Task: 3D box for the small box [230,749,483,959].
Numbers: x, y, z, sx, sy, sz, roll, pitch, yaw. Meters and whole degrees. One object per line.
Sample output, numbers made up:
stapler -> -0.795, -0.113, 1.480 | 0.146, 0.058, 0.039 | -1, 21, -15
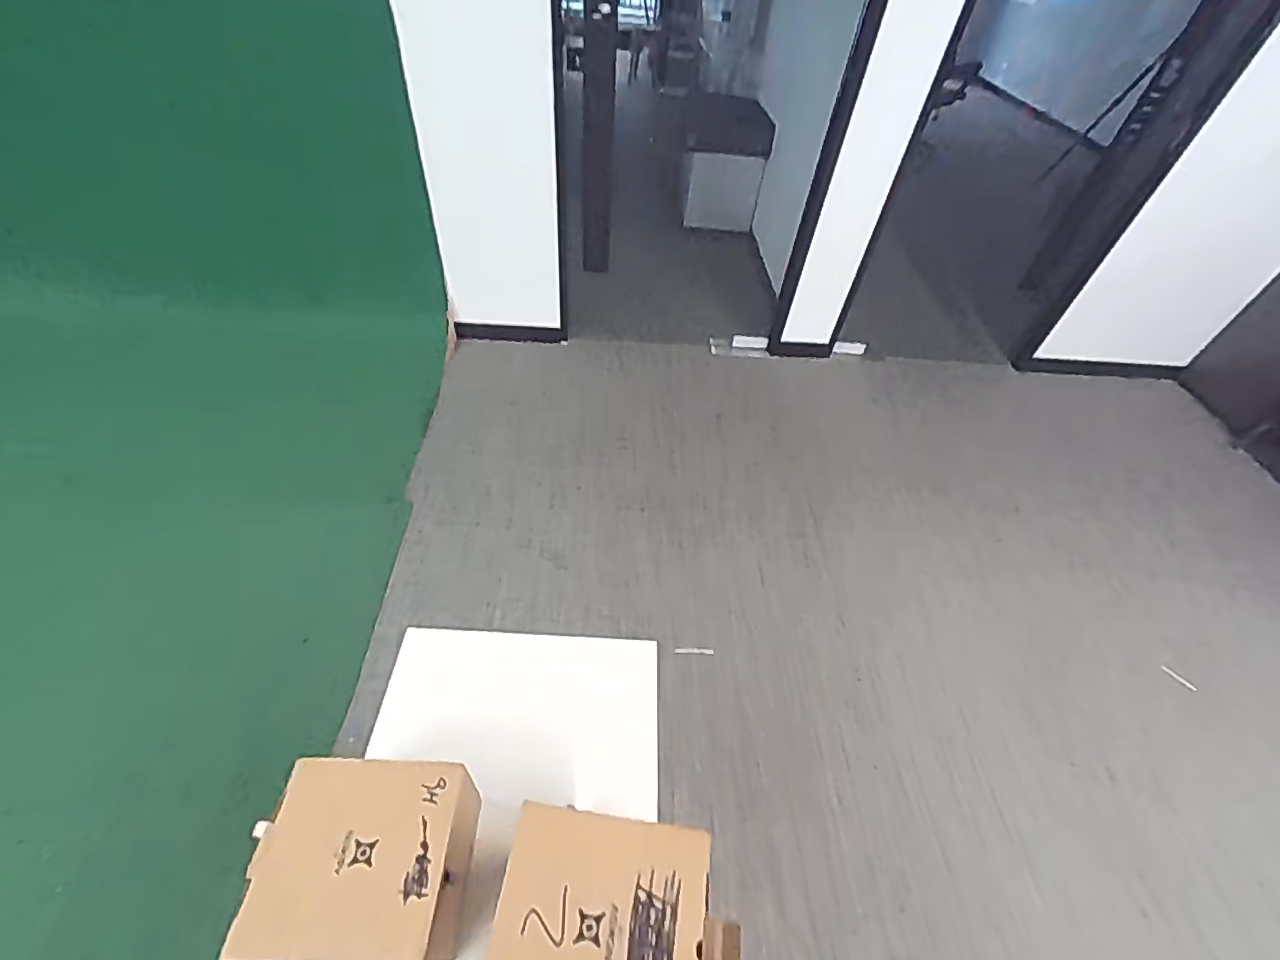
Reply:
small box -> -0.281, 0.410, 0.589 | 0.179, 0.176, 0.168 | 5, 47, -5
